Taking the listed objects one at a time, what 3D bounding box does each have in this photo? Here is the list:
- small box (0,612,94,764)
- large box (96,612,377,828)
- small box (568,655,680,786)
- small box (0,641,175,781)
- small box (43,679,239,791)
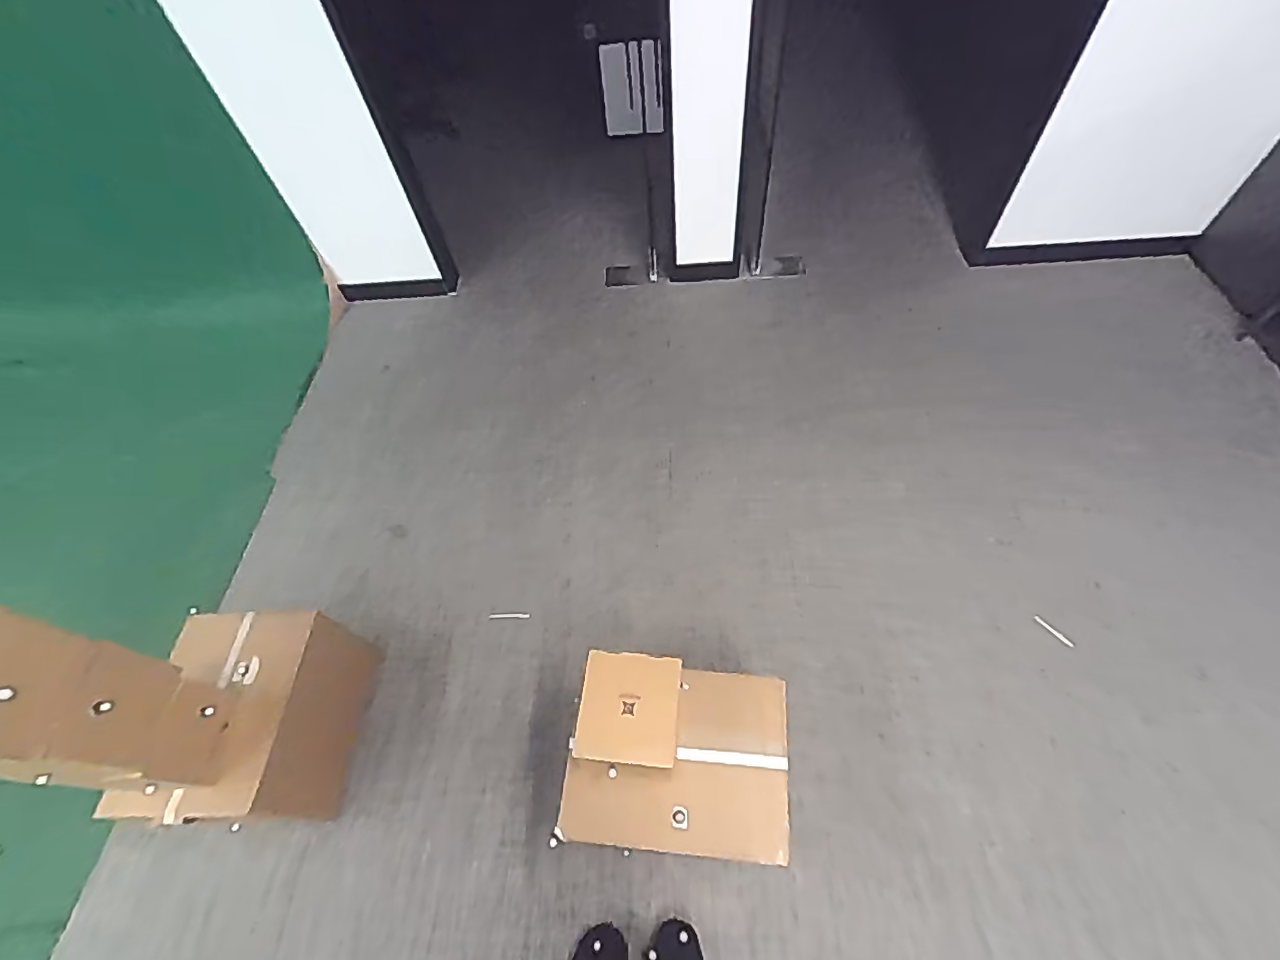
[{"bbox_3d":[-0.929,0.288,0.741,0.168,0.176,0.179,-5,56,2],"label":"small box"},{"bbox_3d":[-0.872,0.557,1.247,0.320,0.320,0.408,-2,55,3],"label":"large box"},{"bbox_3d":[-0.018,0.432,0.962,0.168,0.176,0.179,4,54,7],"label":"small box"},{"bbox_3d":[-0.919,0.380,0.877,0.168,0.176,0.179,-6,54,0],"label":"small box"},{"bbox_3d":[-0.908,0.478,1.008,0.179,0.176,0.168,-4,55,4],"label":"small box"}]
